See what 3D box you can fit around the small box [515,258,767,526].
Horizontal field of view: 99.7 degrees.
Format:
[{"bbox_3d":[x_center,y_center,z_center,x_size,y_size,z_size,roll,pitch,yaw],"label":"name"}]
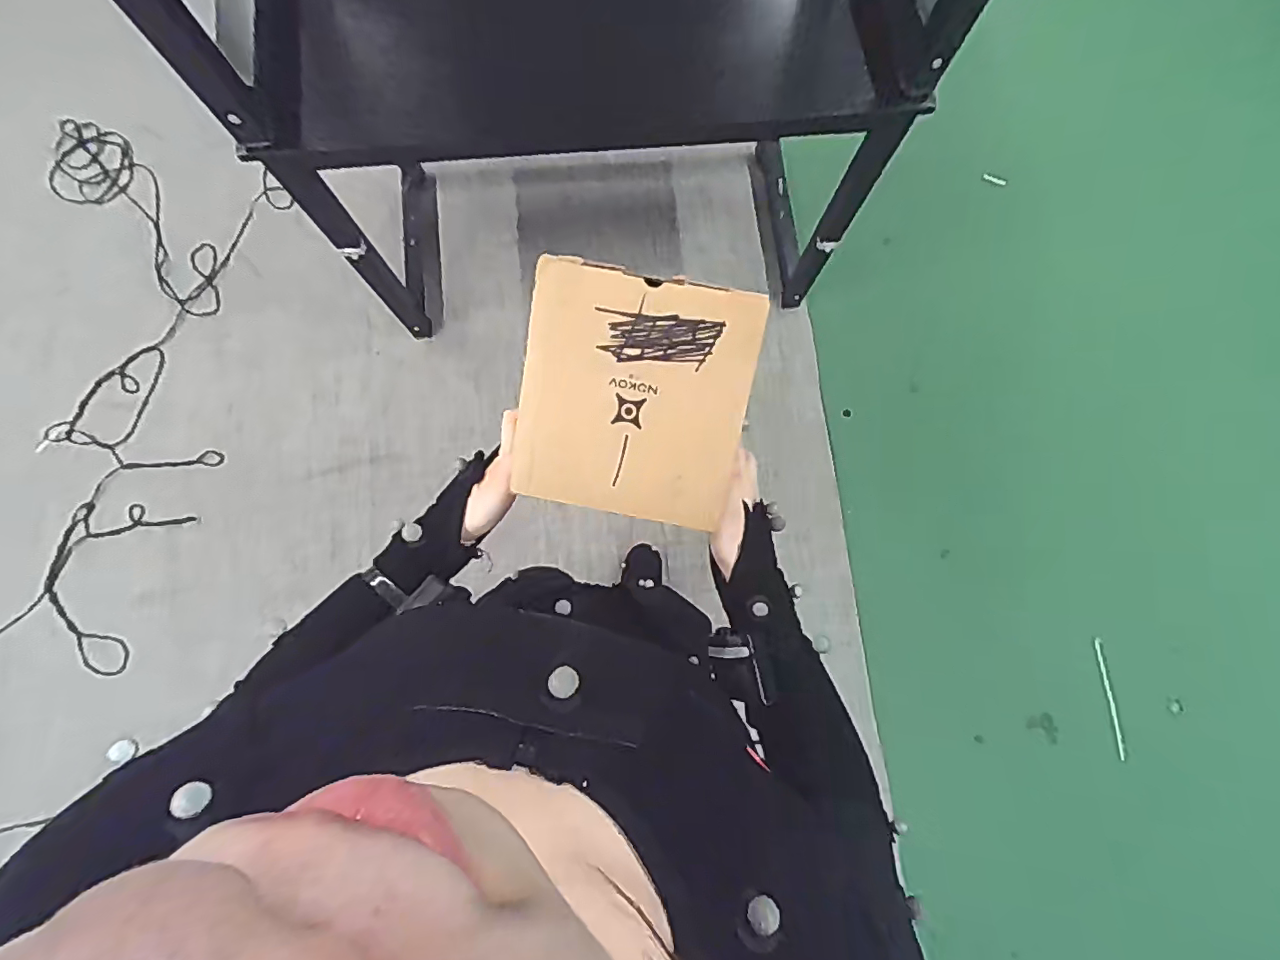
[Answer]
[{"bbox_3d":[0.001,-0.079,0.483,0.168,0.176,0.179,11,104,2],"label":"small box"}]
